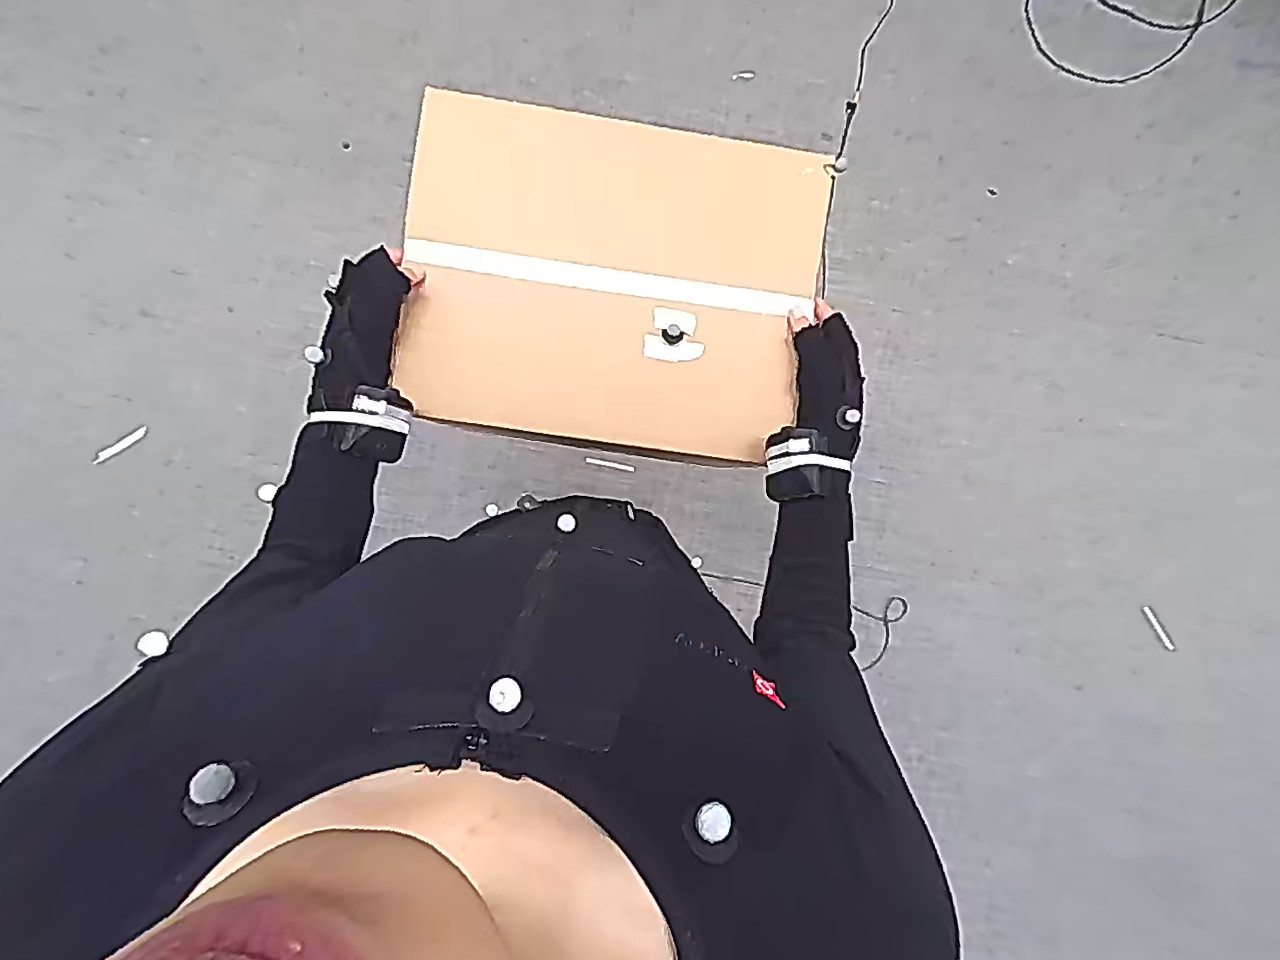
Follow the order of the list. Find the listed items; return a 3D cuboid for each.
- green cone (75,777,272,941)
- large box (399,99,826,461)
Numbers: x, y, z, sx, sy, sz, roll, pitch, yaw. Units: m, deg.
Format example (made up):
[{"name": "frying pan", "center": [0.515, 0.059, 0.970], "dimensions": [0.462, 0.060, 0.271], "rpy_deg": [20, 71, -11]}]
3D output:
[{"name": "green cone", "center": [-1.072, 0.882, 1.226], "dimensions": [0.202, 0.368, 0.200], "rpy_deg": [-27, 86, -2]}, {"name": "large box", "center": [-0.034, -0.202, 0.688], "dimensions": [0.408, 0.320, 0.320], "rpy_deg": [8, 91, -3]}]
